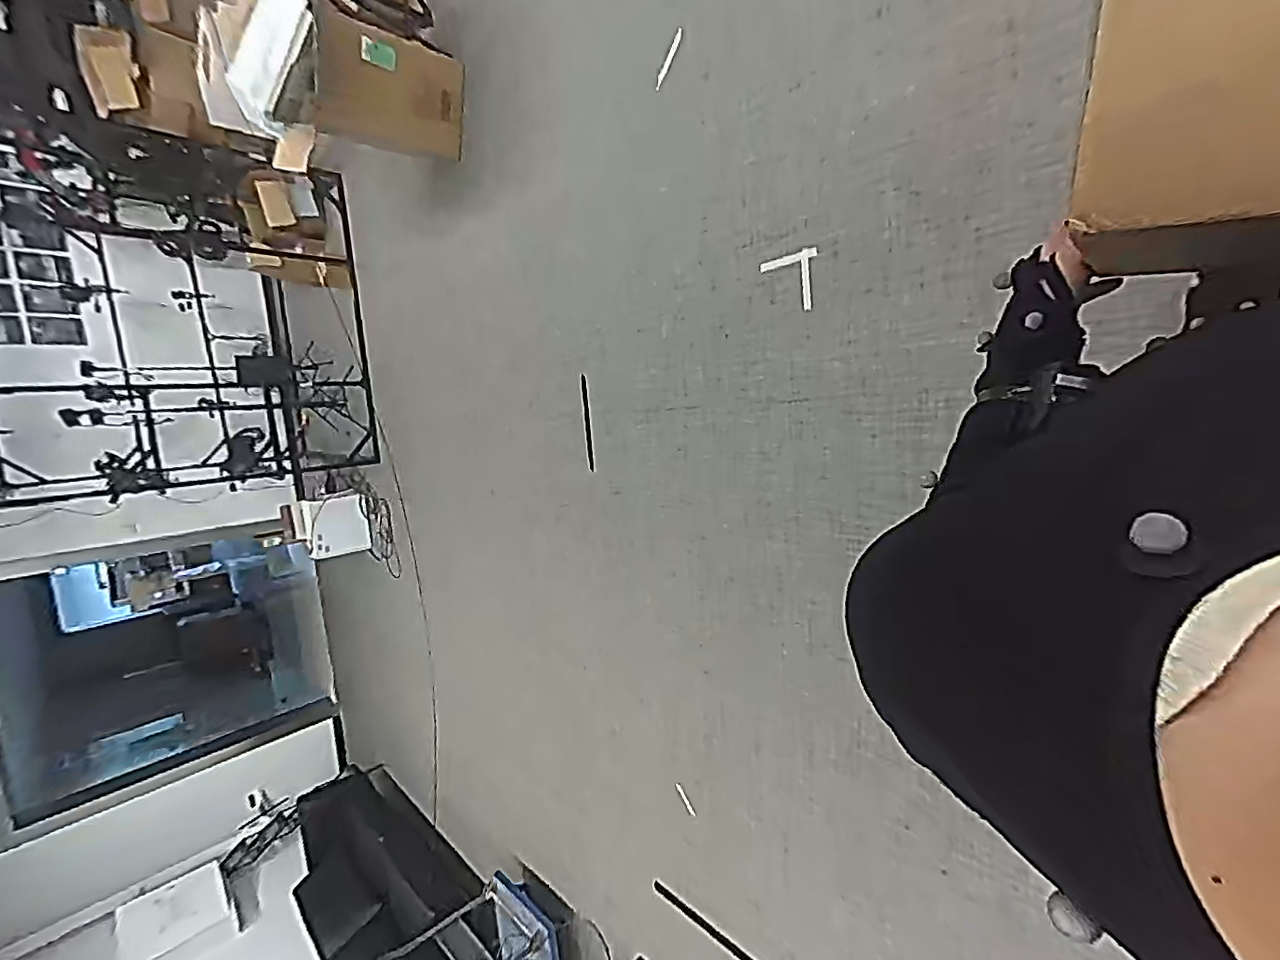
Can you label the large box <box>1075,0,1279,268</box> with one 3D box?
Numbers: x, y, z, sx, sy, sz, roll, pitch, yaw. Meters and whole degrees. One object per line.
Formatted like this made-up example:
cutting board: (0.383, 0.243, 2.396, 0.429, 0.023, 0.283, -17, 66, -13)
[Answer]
large box: (0.454, -0.282, 0.218, 0.408, 0.320, 0.320, 11, 109, 39)
